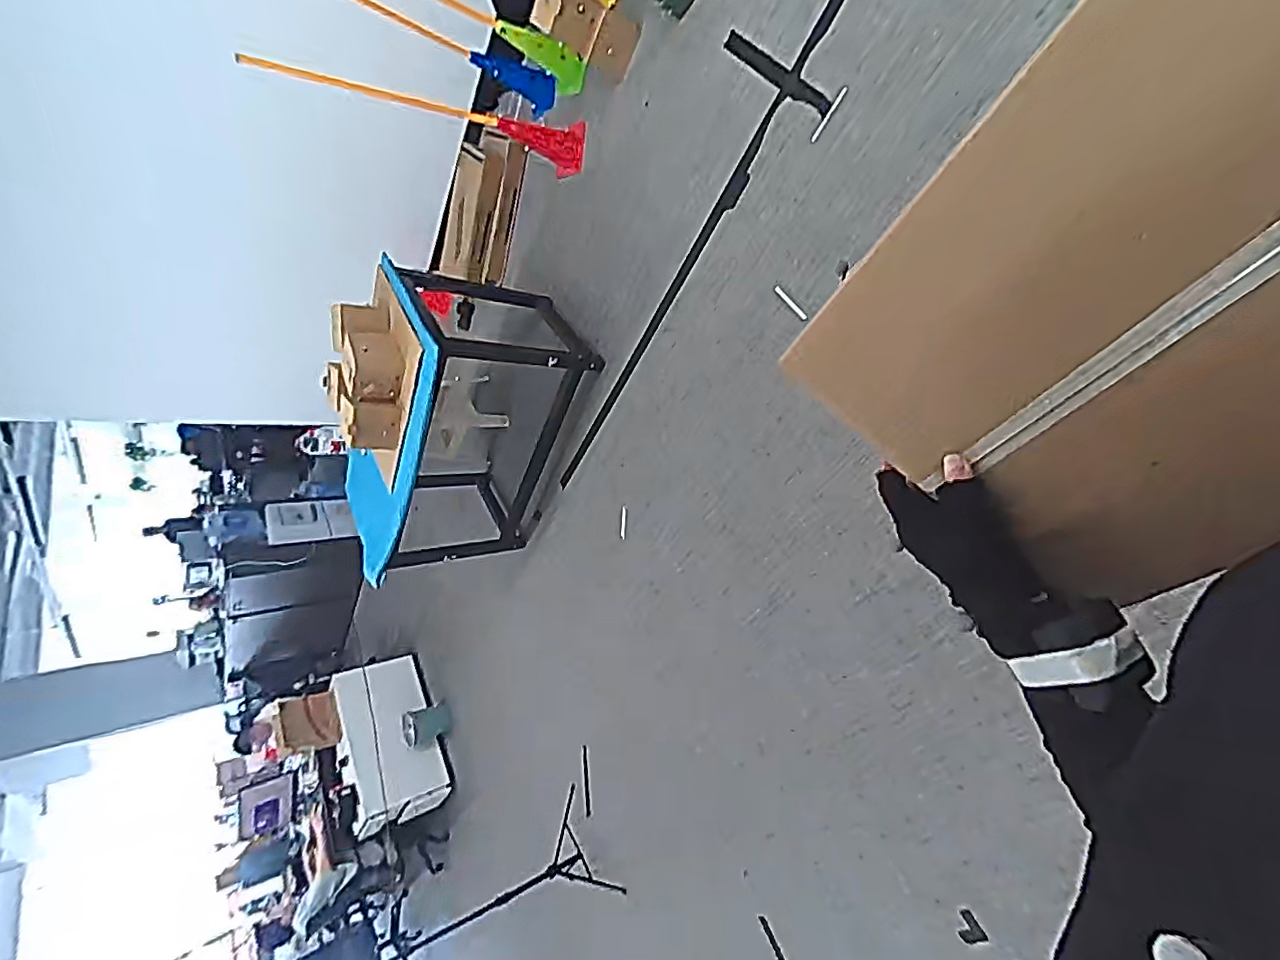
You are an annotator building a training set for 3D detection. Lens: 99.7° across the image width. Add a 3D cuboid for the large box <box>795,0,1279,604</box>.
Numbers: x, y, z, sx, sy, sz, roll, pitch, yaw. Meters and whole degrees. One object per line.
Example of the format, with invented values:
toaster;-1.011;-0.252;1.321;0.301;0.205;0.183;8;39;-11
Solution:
large box;0.395;-0.185;0.411;0.320;0.320;0.408;40;134;4
